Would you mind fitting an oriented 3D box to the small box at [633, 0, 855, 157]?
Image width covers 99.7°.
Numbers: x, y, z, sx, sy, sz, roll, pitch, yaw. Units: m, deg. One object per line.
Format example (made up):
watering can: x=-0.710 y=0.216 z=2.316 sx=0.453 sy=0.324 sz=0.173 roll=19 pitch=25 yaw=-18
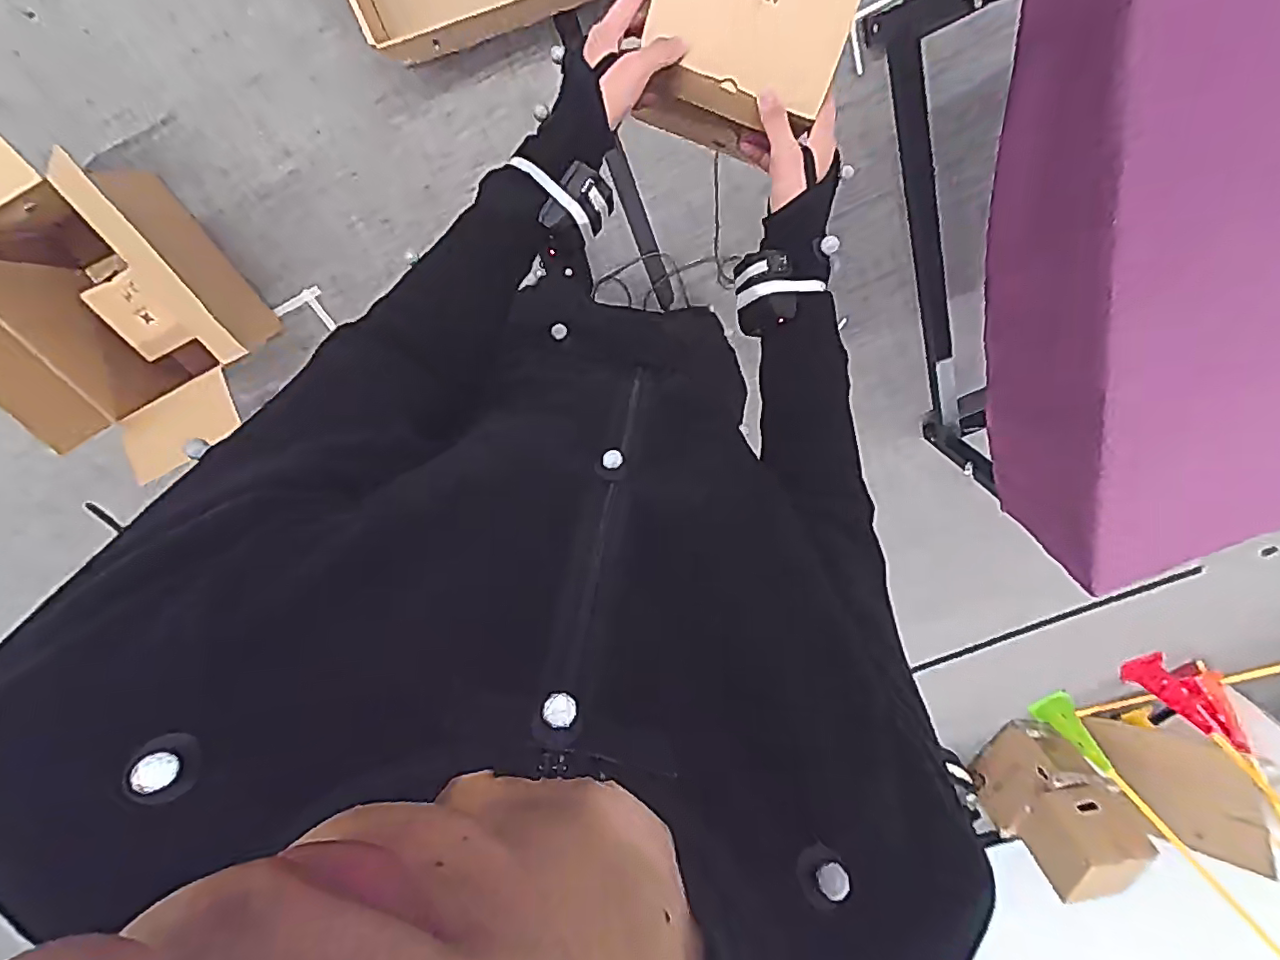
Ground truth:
small box: x=0.096 y=-0.439 z=0.511 sx=0.168 sy=0.176 sz=0.179 roll=17 pitch=106 yaw=-9
